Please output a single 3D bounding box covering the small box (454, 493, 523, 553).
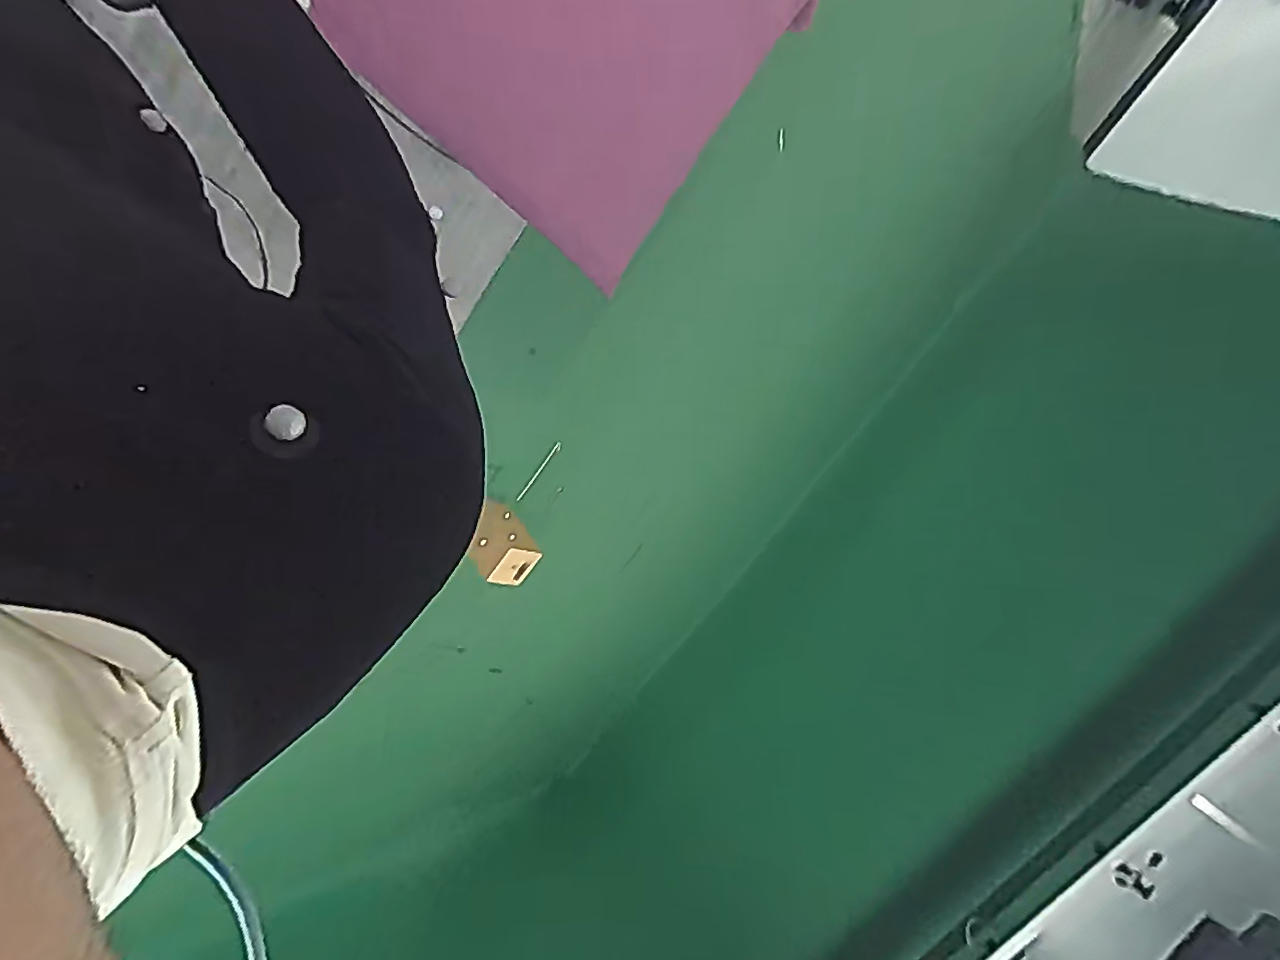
[{"bbox_3d":[-0.618,0.175,2.201,0.168,0.176,0.179,-52,145,9],"label":"small box"}]
